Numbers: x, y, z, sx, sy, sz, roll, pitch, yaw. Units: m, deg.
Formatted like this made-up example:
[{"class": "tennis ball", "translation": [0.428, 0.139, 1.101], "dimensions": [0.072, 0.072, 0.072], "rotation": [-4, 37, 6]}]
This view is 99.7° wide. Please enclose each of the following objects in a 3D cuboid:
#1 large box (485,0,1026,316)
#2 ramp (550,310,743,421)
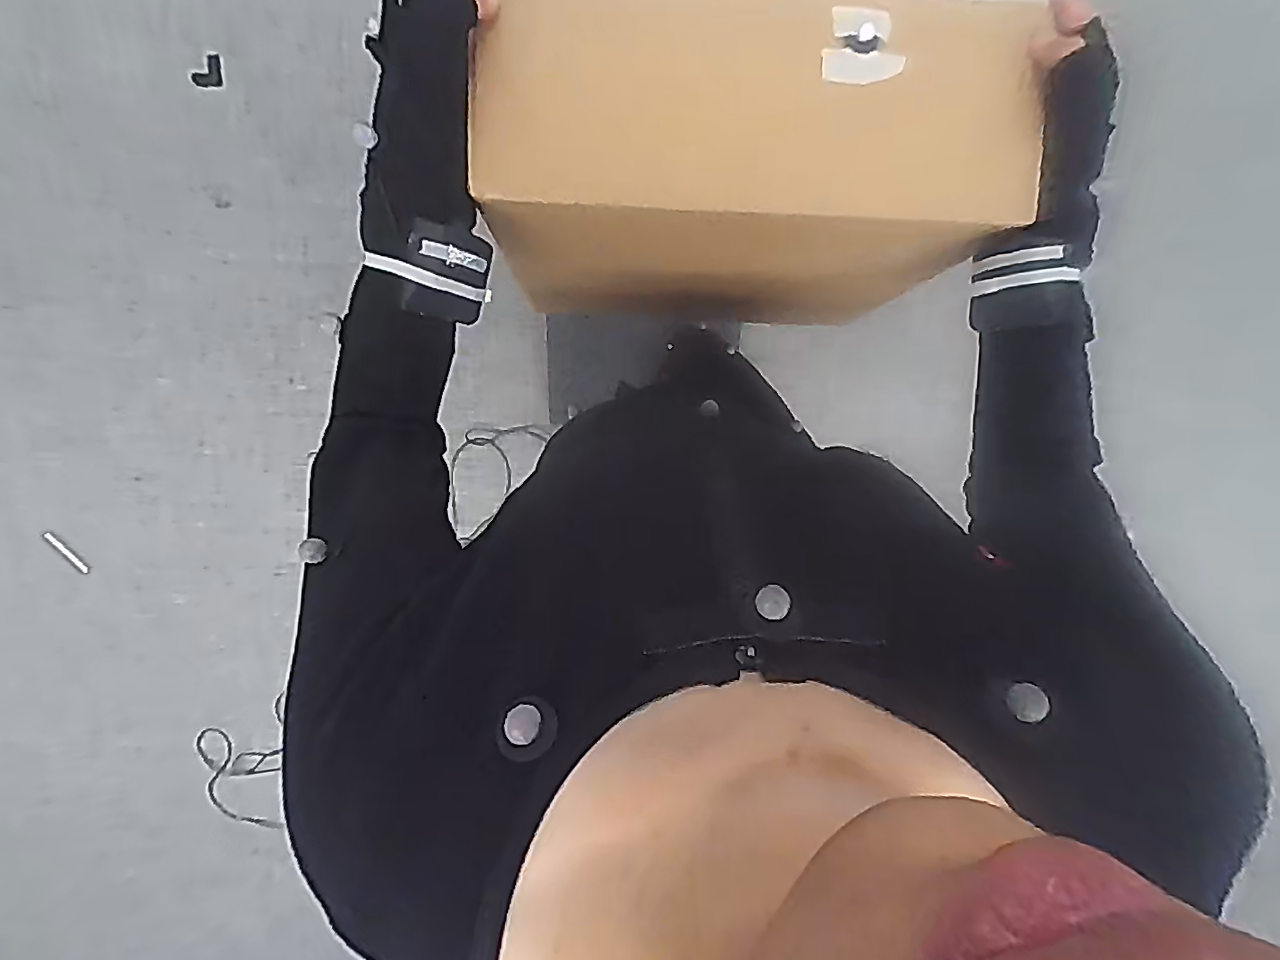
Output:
[{"class": "large box", "translation": [0.078, -0.359, 0.539], "dimensions": [0.408, 0.320, 0.320], "rotation": [1, 93, -3]}, {"class": "ramp", "translation": [0.023, -0.628, 1.286], "dimensions": [0.509, 0.206, 0.991], "rotation": [-2, 100, -3]}]
